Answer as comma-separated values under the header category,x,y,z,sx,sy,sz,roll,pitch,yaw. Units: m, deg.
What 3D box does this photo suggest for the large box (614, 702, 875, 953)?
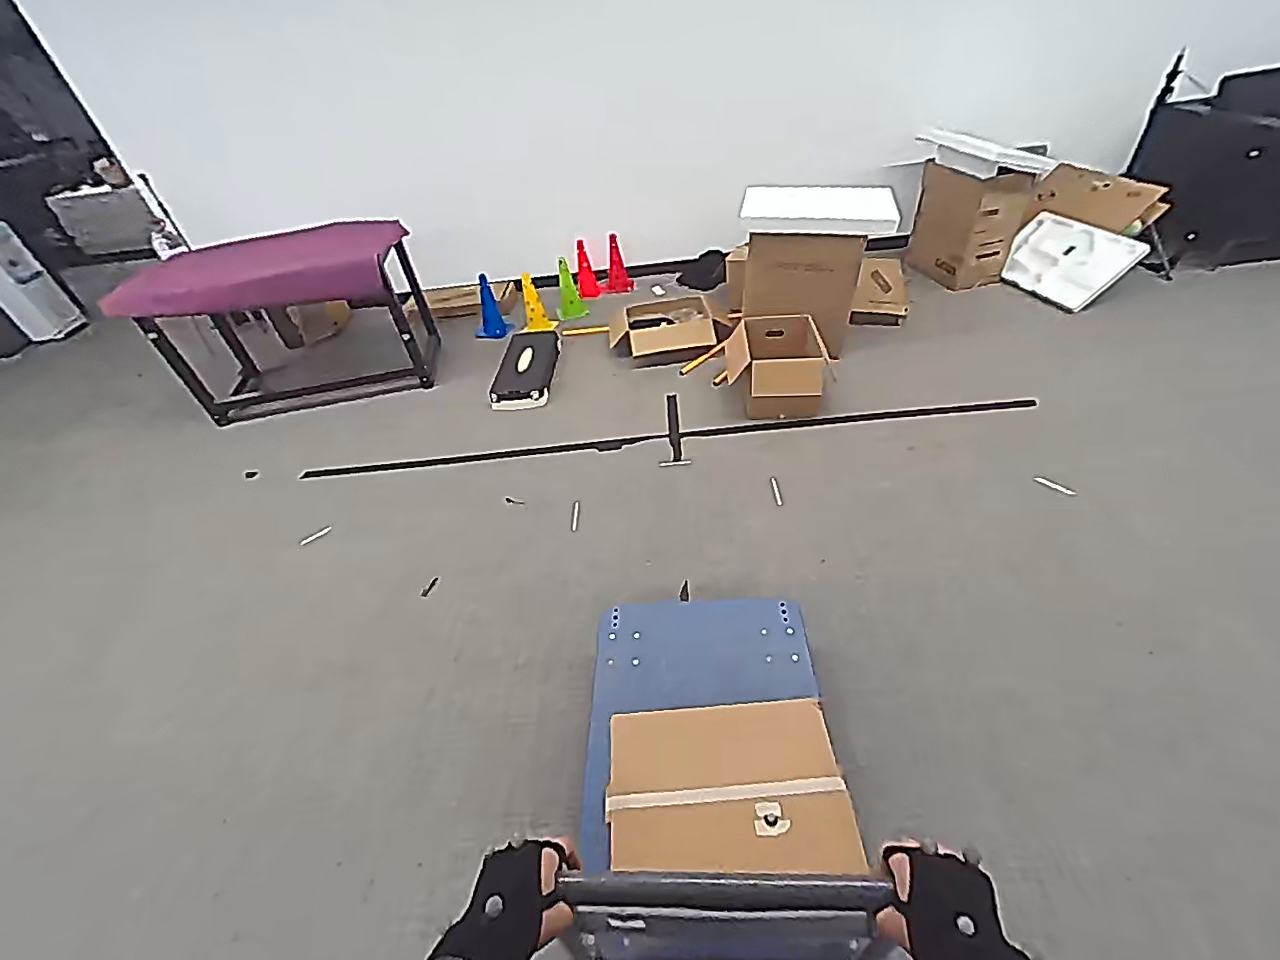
category,x,y,z,sx,sy,sz,roll,pitch,yaw
large box,0.165,0.663,1.035,0.408,0.320,0.320,-5,42,1
